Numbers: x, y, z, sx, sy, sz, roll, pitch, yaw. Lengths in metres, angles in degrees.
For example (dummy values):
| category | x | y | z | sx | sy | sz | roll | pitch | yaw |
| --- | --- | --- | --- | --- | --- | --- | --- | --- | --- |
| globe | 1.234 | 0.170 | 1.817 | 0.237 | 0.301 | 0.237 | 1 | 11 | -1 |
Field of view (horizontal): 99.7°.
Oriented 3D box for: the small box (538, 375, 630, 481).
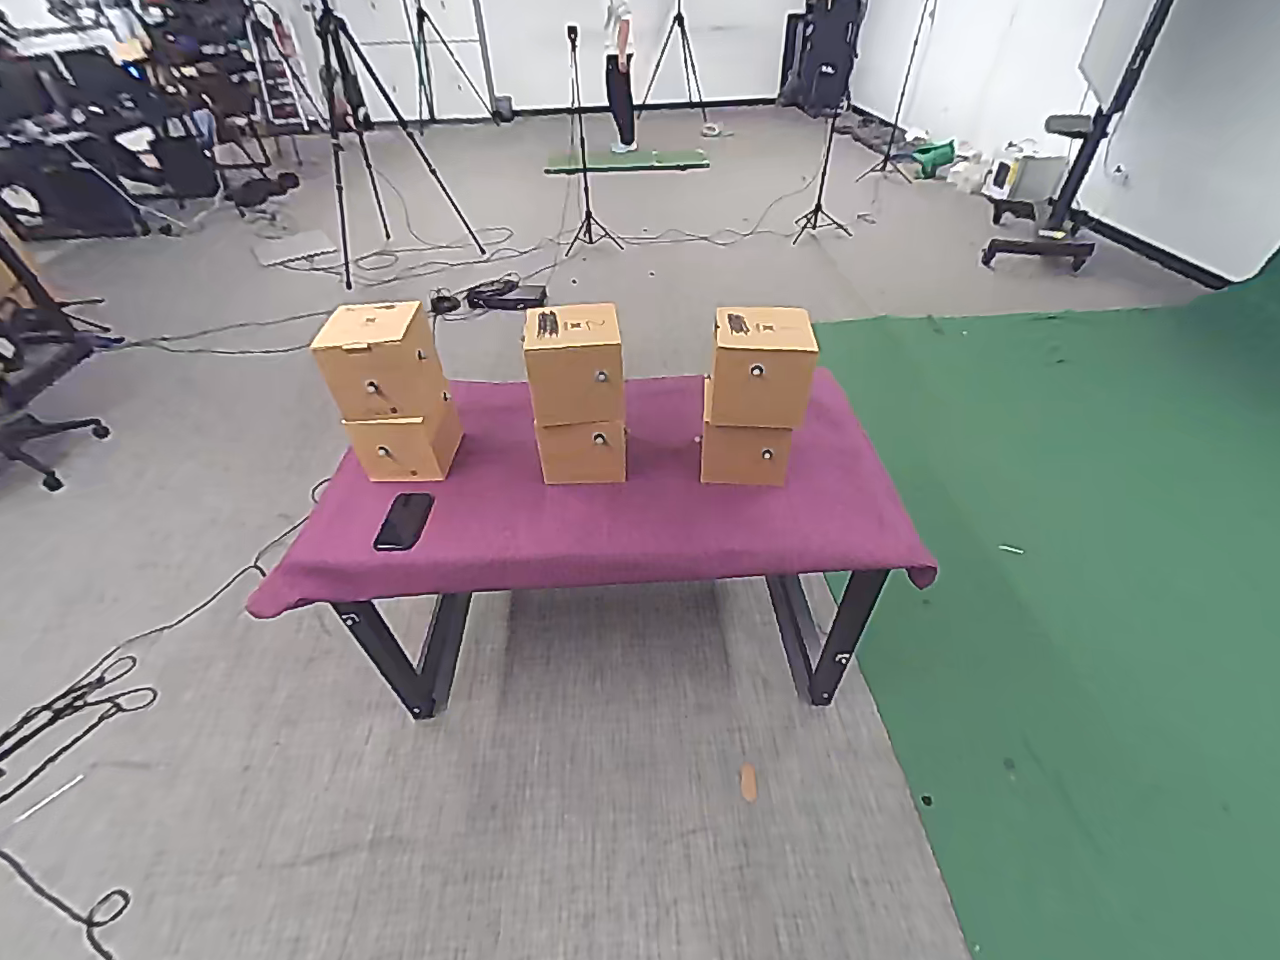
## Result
| category | x | y | z | sx | sy | sz | roll | pitch | yaw |
| --- | --- | --- | --- | --- | --- | --- | --- | --- | --- |
| small box | -0.113 | -0.110 | 1.174 | 0.179 | 0.176 | 0.168 | -2 | 43 | 1 |

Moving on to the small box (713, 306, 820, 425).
| category | x | y | z | sx | sy | sz | roll | pitch | yaw |
| --- | --- | --- | --- | --- | --- | --- | --- | --- | --- |
| small box | 0.231 | -0.219 | 1.035 | 0.179 | 0.176 | 0.168 | 3 | 43 | 5 |

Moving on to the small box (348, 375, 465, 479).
| category | x | y | z | sx | sy | sz | roll | pitch | yaw |
| --- | --- | --- | --- | --- | --- | --- | --- | --- | --- |
| small box | -0.503 | -0.113 | 1.198 | 0.168 | 0.176 | 0.179 | -1 | 43 | 2 |

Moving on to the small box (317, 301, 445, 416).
| category | x | y | z | sx | sy | sz | roll | pitch | yaw |
| --- | --- | --- | --- | --- | --- | --- | --- | --- | --- |
| small box | -0.509 | -0.240 | 1.093 | 0.168 | 0.176 | 0.179 | -4 | 43 | -3 |

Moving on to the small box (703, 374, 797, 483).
| category | x | y | z | sx | sy | sz | roll | pitch | yaw |
| --- | --- | --- | --- | --- | --- | --- | --- | --- | --- |
| small box | 0.228 | -0.109 | 1.157 | 0.179 | 0.176 | 0.168 | 2 | 43 | 6 |
